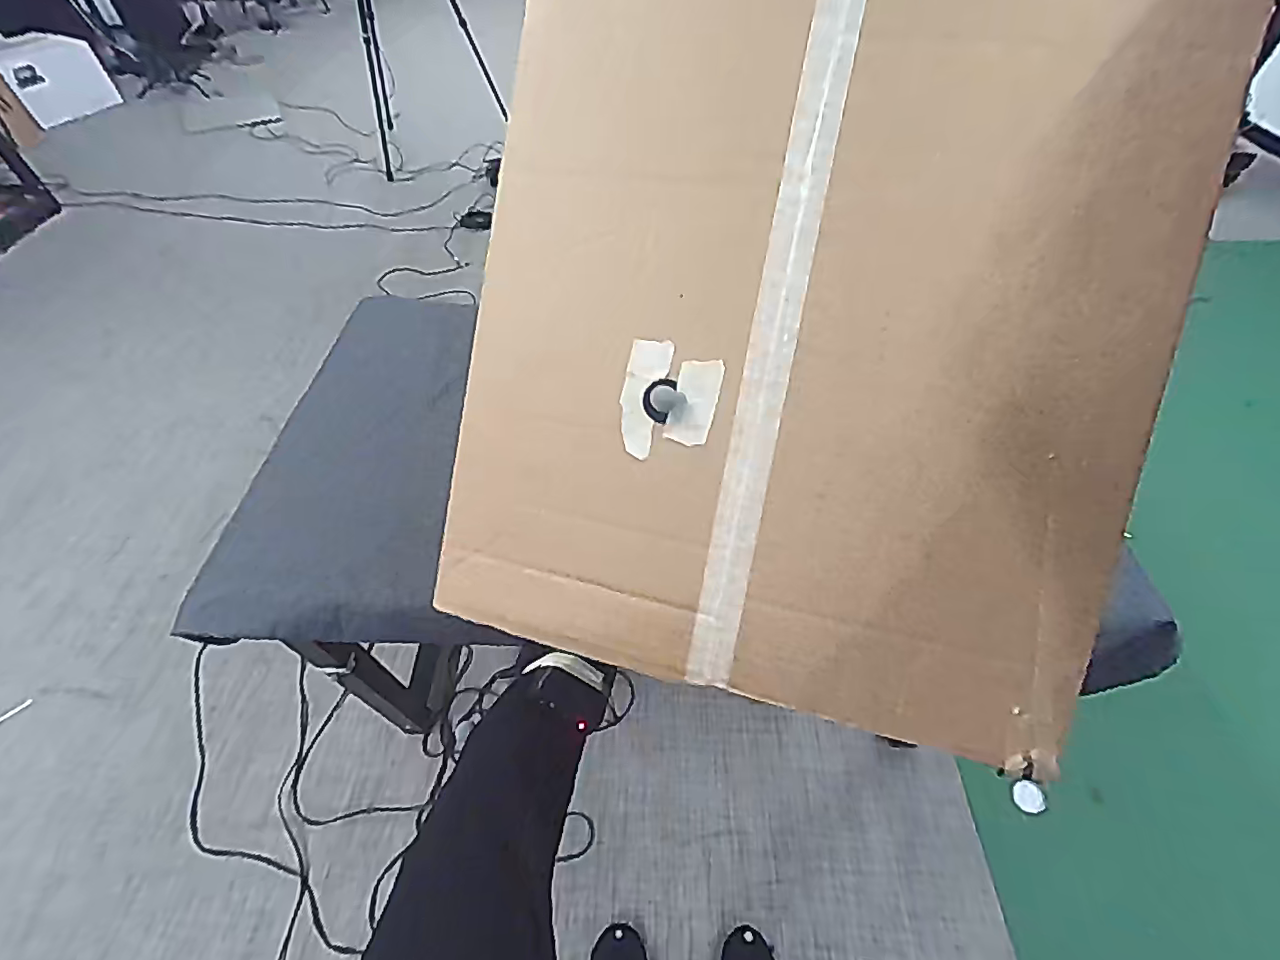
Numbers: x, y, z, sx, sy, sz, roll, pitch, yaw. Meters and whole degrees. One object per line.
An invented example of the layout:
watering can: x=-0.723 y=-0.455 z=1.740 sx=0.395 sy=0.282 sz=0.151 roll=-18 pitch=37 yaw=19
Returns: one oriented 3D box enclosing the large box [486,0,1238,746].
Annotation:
large box: x=0.114 y=-0.101 z=0.416 sx=0.320 sy=0.320 sz=0.408 roll=11 pitch=97 yaw=13
